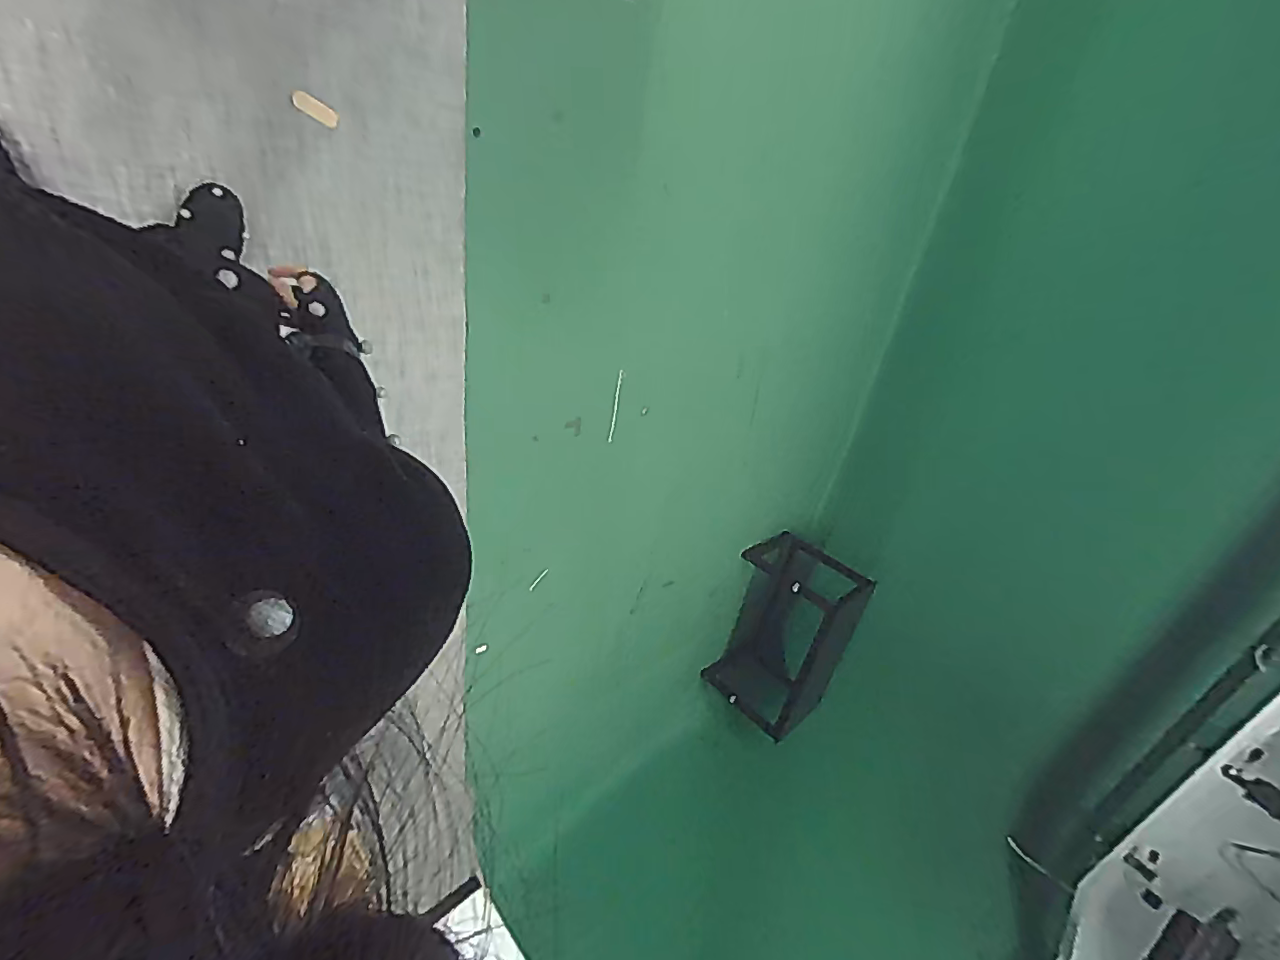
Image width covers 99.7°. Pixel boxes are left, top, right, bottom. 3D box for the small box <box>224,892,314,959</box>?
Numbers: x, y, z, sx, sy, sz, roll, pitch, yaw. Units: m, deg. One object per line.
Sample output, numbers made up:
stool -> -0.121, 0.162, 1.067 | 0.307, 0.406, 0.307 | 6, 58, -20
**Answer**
small box -> -1.023, 1.304, 1.504 | 0.168, 0.176, 0.179 | -23, 129, -38
